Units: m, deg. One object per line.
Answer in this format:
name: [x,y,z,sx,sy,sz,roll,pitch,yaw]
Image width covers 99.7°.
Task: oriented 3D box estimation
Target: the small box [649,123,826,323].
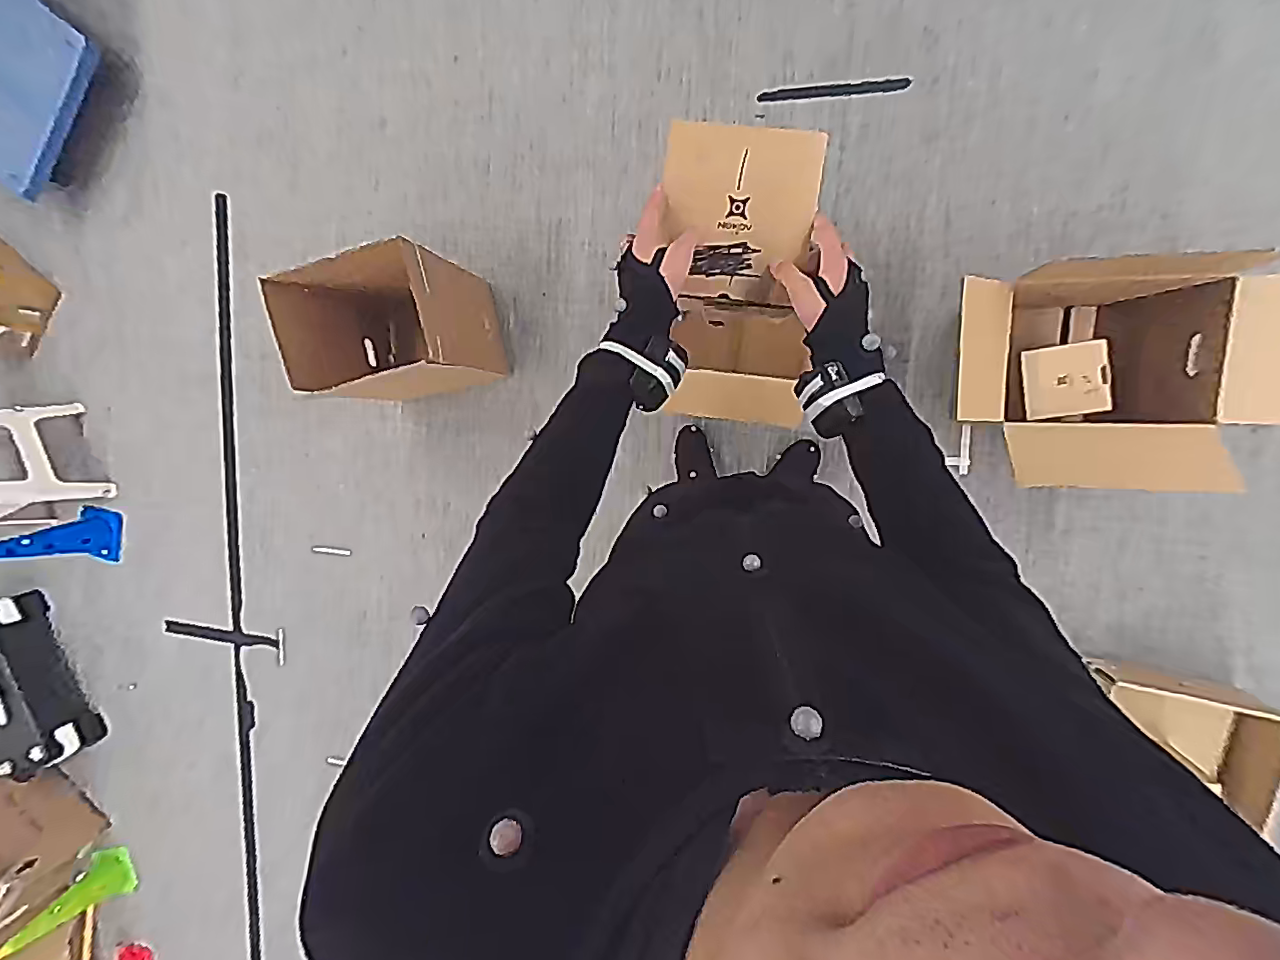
small box: [0.109,-0.291,0.649,0.168,0.176,0.179,8,100,5]
